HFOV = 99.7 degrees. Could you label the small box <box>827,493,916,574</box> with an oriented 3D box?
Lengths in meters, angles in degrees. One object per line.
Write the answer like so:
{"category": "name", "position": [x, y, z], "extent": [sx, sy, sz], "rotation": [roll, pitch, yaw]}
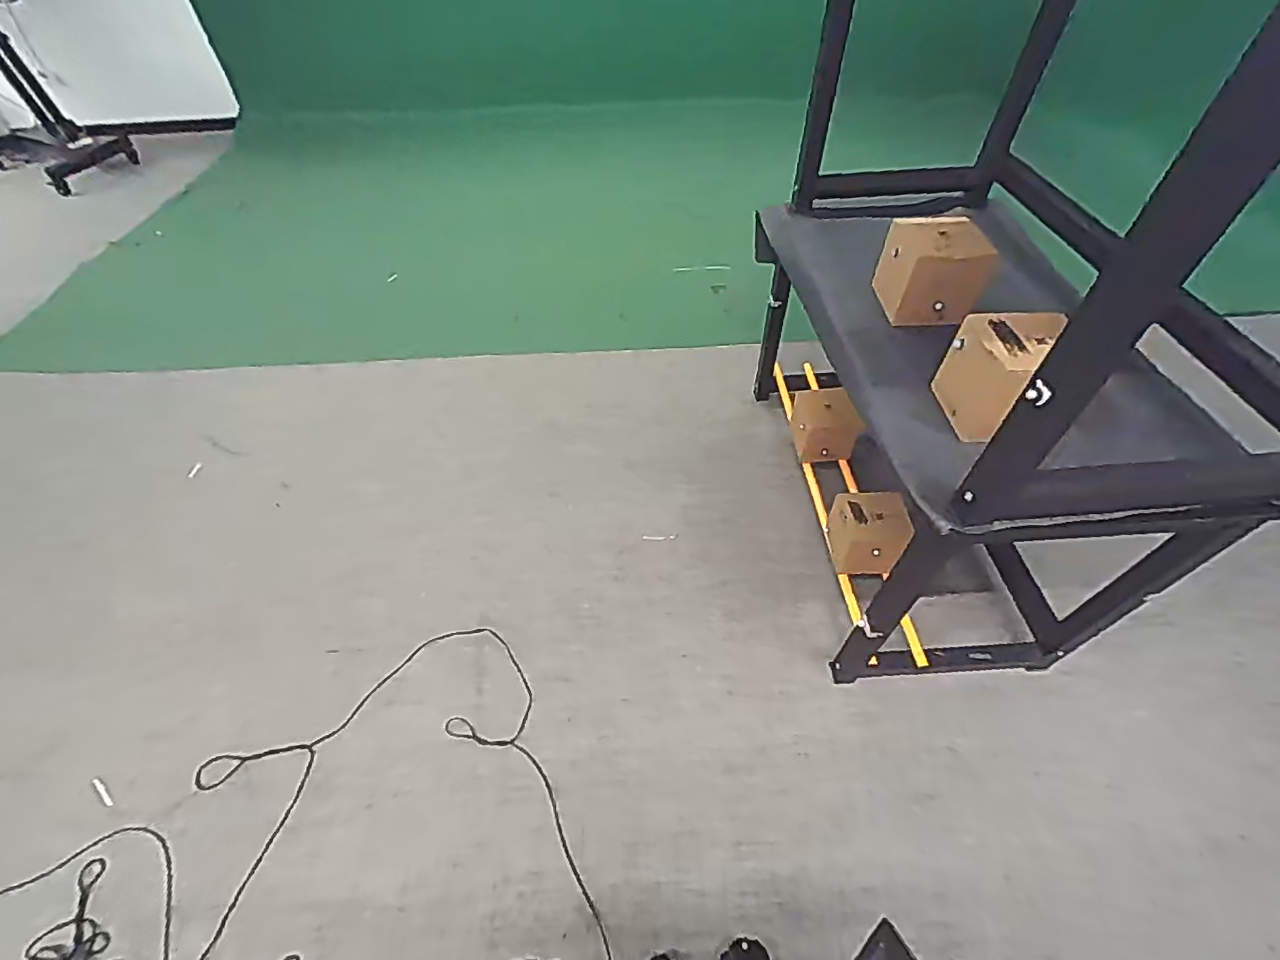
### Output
{"category": "small box", "position": [0.639, 0.153, 1.522], "extent": [0.179, 0.176, 0.168], "rotation": [-1, 50, 2]}

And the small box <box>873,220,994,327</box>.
{"category": "small box", "position": [0.653, -0.470, 1.231], "extent": [0.168, 0.176, 0.179], "rotation": [-1, 50, 1]}
